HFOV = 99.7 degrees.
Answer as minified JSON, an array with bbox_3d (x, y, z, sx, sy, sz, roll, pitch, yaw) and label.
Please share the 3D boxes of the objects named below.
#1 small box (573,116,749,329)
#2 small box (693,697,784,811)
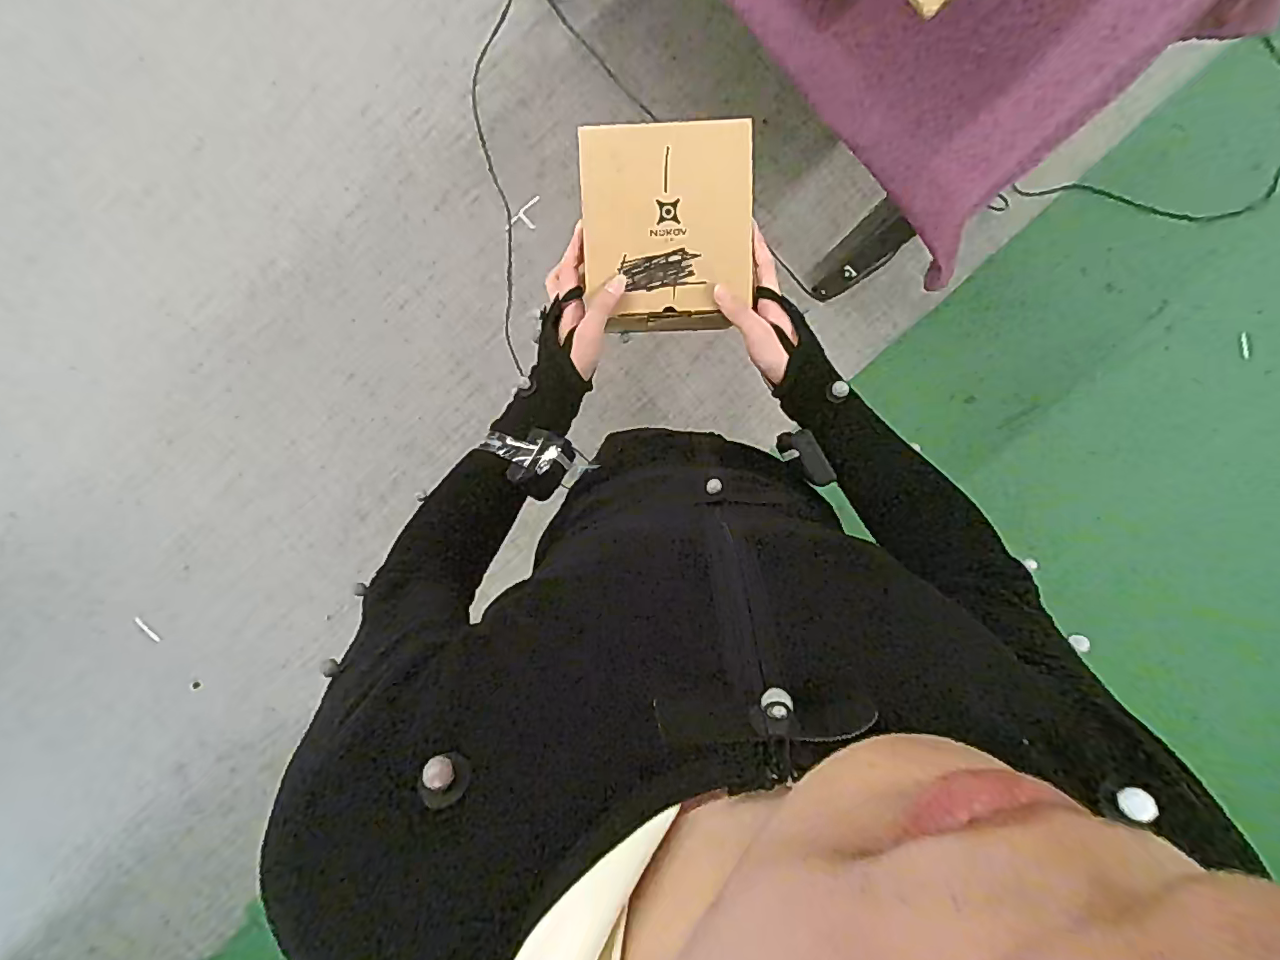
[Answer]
[{"bbox_3d":[0.023,-0.261,0.591,0.168,0.176,0.179,-2,99,1],"label":"small box"},{"bbox_3d":[0.258,0.727,1.453,0.168,0.176,0.179,-36,94,5],"label":"small box"}]
